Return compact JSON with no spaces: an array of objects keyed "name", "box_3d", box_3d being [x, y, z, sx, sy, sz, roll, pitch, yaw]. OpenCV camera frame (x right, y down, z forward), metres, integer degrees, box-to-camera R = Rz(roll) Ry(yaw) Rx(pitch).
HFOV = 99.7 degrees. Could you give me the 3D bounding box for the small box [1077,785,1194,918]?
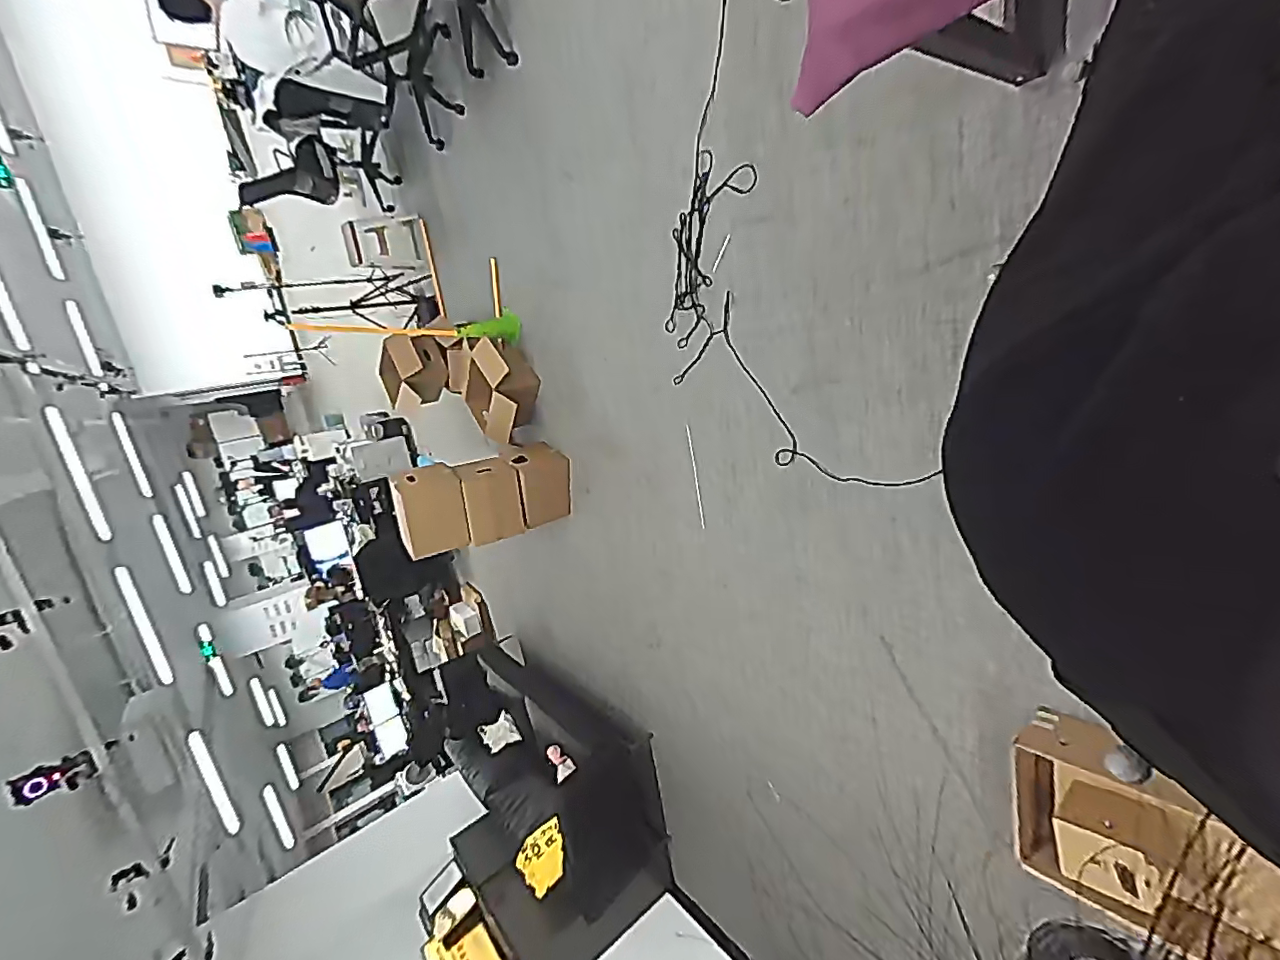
[{"name":"small box","box_3d":[1.206,0.884,1.311,0.179,0.176,0.168,-5,101,56]}]
